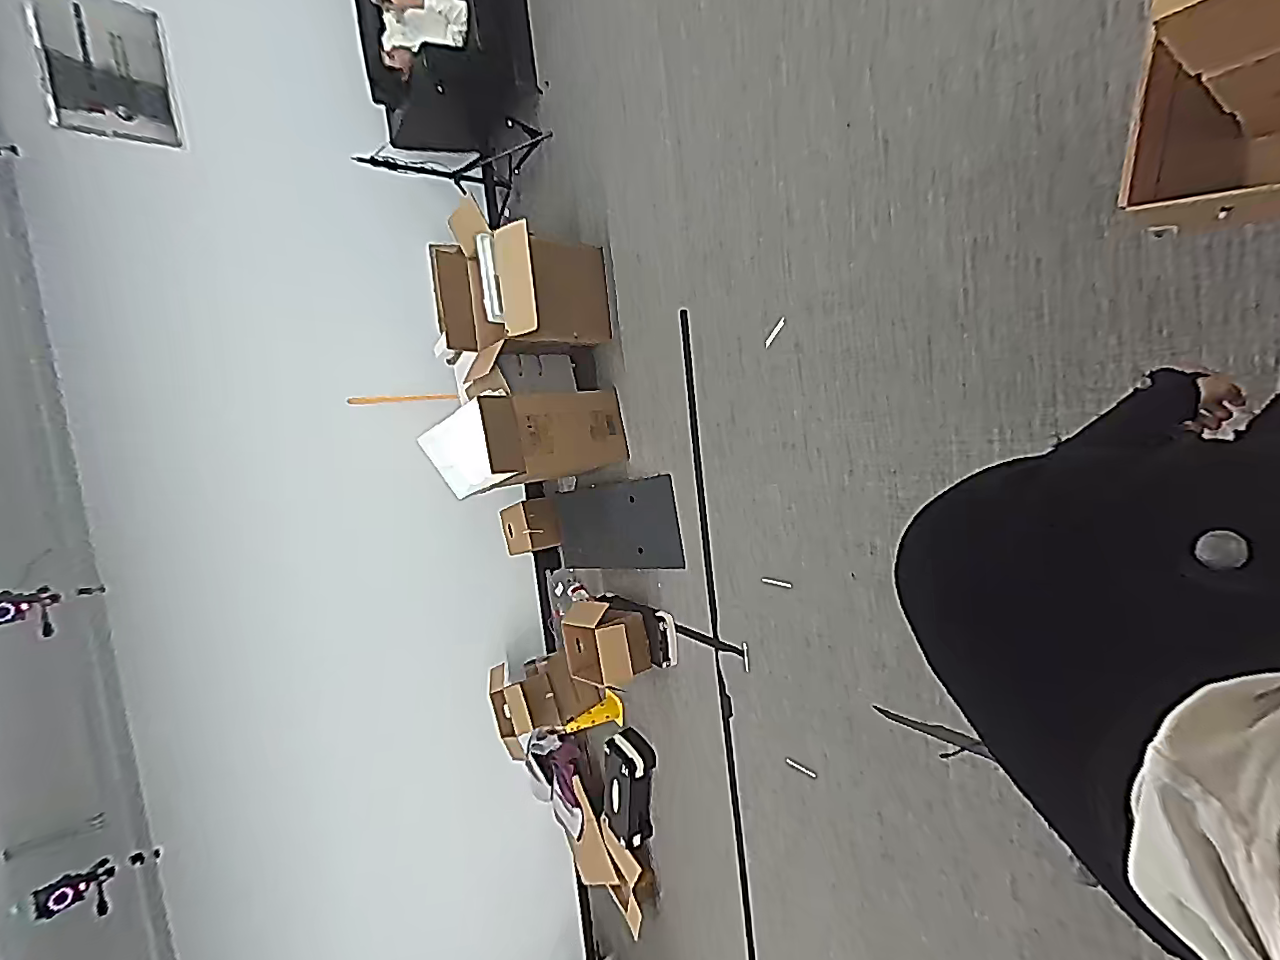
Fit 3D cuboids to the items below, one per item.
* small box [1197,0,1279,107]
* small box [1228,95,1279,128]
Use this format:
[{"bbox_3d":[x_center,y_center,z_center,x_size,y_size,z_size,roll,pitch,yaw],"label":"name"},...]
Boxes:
[{"bbox_3d":[0.748,-0.553,0.588,0.168,0.176,0.179,9,104,56],"label":"small box"},{"bbox_3d":[0.887,-0.573,0.674,0.179,0.176,0.168,11,107,53],"label":"small box"}]
